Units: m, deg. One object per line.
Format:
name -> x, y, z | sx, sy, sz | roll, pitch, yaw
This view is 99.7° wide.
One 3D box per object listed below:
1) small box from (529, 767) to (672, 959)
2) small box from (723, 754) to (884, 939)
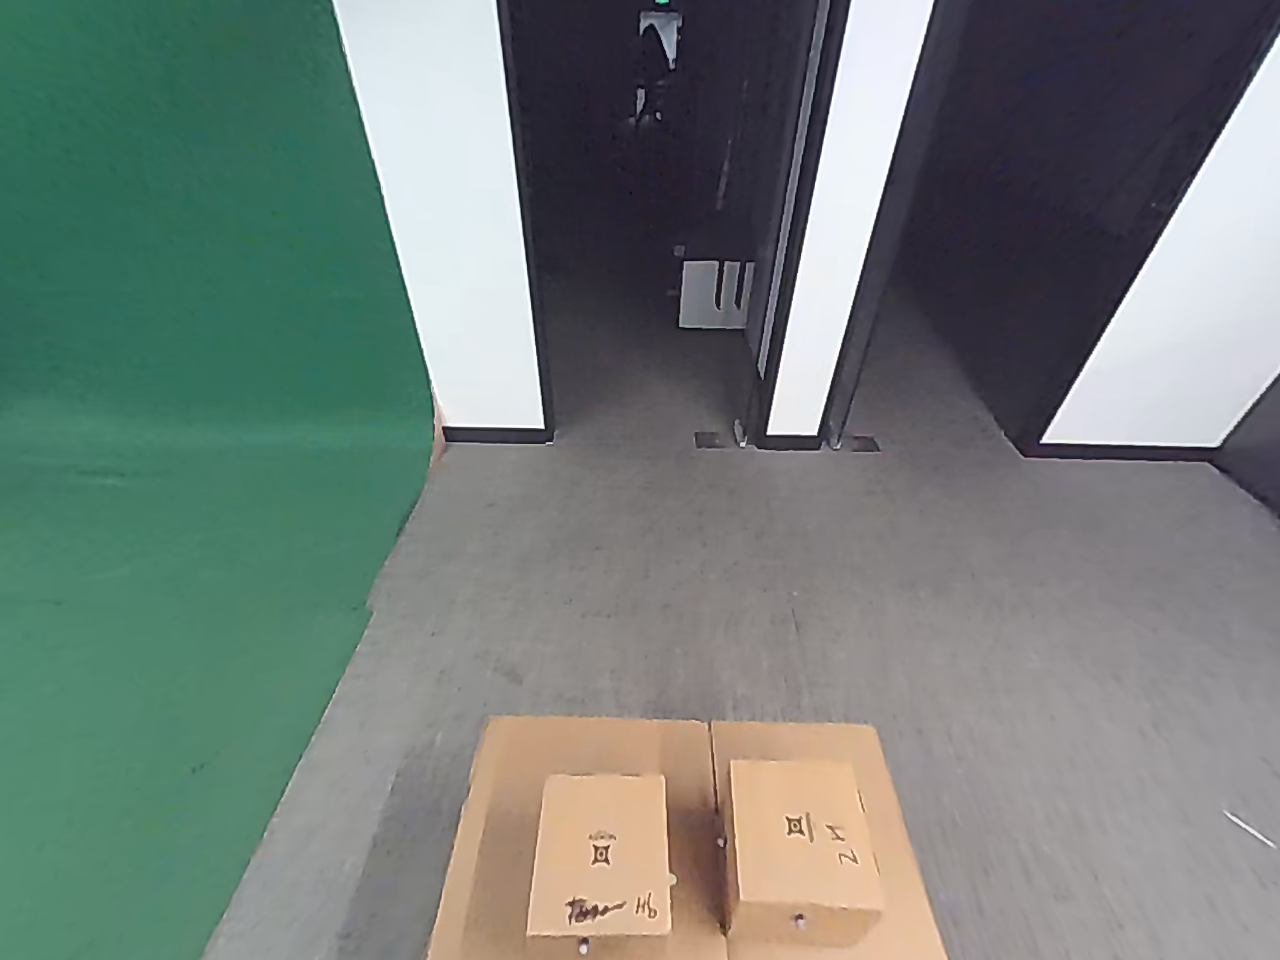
small box -> -0.046, 0.513, 0.723 | 0.168, 0.176, 0.179 | 0, 38, 0
small box -> 0.206, 0.502, 0.742 | 0.179, 0.176, 0.168 | 2, 39, 4
